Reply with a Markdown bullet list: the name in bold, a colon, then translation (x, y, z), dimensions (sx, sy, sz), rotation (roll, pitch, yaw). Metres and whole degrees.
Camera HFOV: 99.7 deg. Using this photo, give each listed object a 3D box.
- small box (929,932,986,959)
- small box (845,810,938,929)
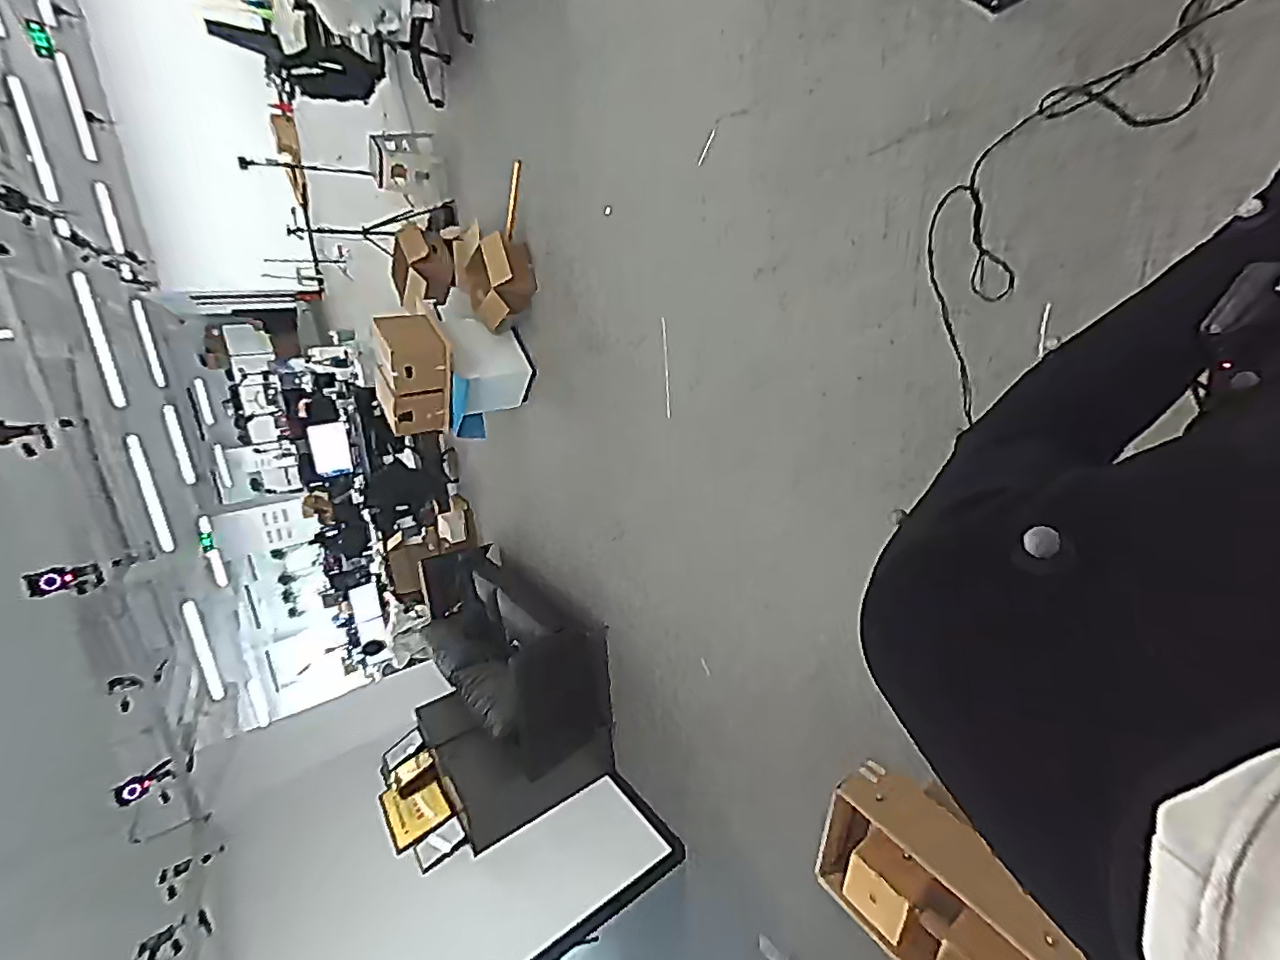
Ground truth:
- **small box**: translation (0.737, 1.205, 1.230), dimensions (0.168, 0.176, 0.179), rotation (23, 121, 48)
- **small box**: translation (0.707, 1.085, 1.517), dimensions (0.168, 0.176, 0.179), rotation (27, 123, 47)
